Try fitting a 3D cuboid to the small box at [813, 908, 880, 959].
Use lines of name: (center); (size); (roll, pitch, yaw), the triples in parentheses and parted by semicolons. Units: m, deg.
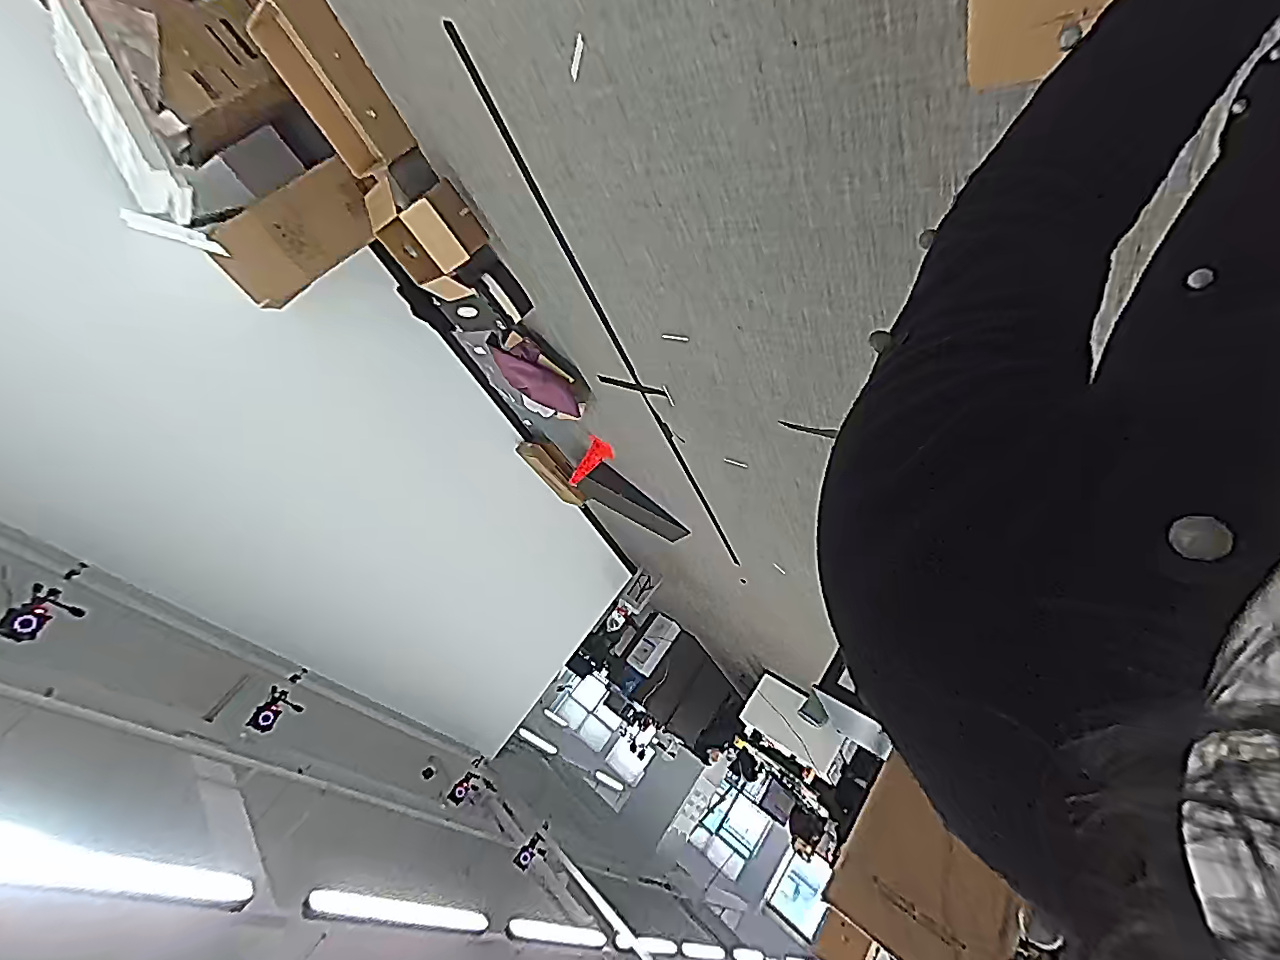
small box: (0.774, 1.740, 2.013); (0.168, 0.176, 0.179); (19, 155, 42)
